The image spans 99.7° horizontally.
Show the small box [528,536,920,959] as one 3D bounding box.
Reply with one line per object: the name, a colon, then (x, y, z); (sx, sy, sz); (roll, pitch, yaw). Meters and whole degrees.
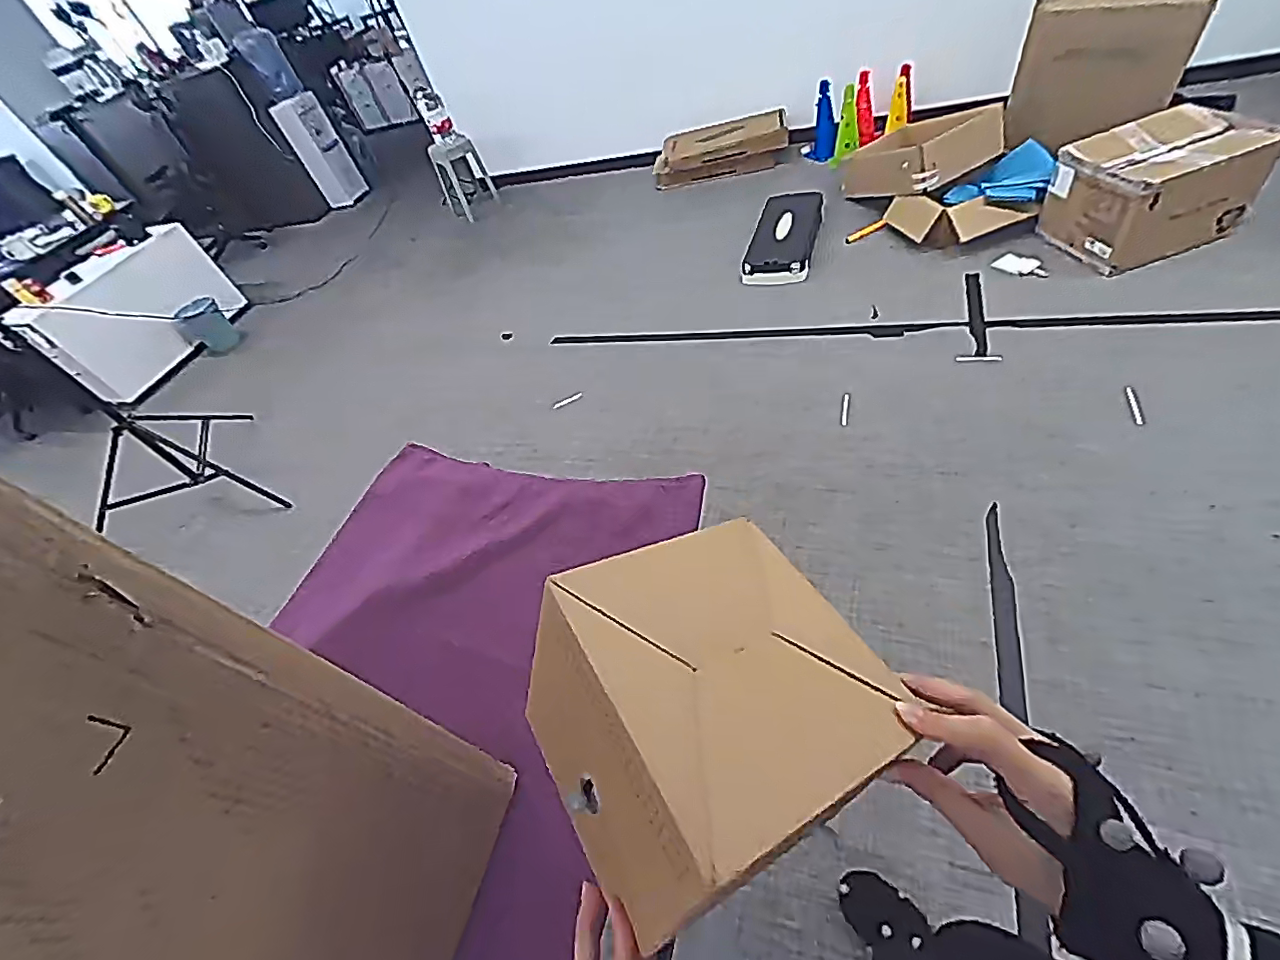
small box: (0.040, 0.163, 0.364); (0.168, 0.176, 0.179); (-13, 46, -31)
